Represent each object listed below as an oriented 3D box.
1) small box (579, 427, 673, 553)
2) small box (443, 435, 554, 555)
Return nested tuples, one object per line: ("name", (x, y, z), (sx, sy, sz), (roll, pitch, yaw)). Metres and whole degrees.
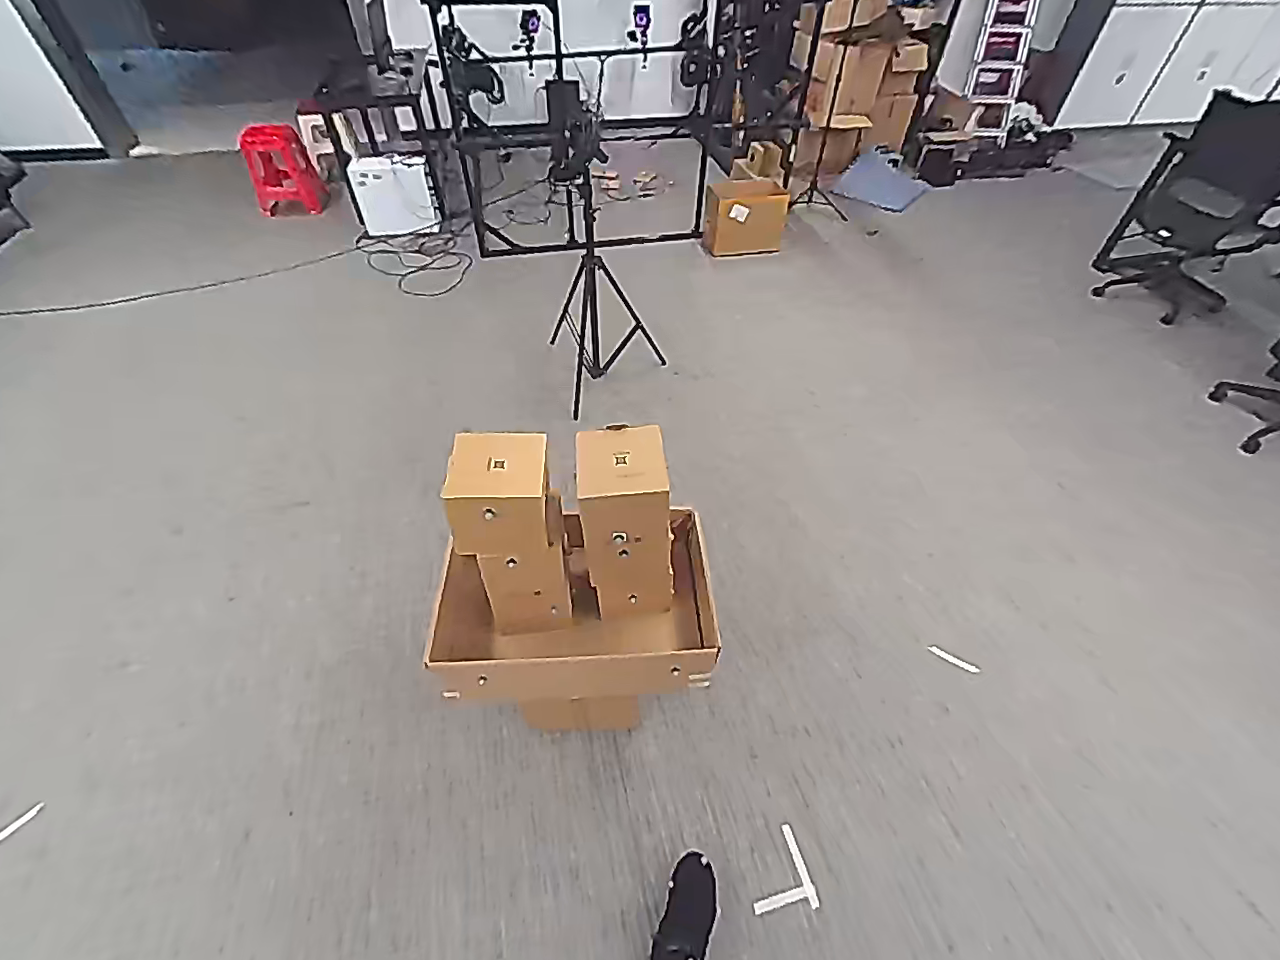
("small box", (-0.030, 0.019, 1.052), (0.168, 0.176, 0.179), (-5, 47, -2))
("small box", (-0.260, 0.031, 1.040), (0.179, 0.176, 0.168), (-1, 47, -4))
